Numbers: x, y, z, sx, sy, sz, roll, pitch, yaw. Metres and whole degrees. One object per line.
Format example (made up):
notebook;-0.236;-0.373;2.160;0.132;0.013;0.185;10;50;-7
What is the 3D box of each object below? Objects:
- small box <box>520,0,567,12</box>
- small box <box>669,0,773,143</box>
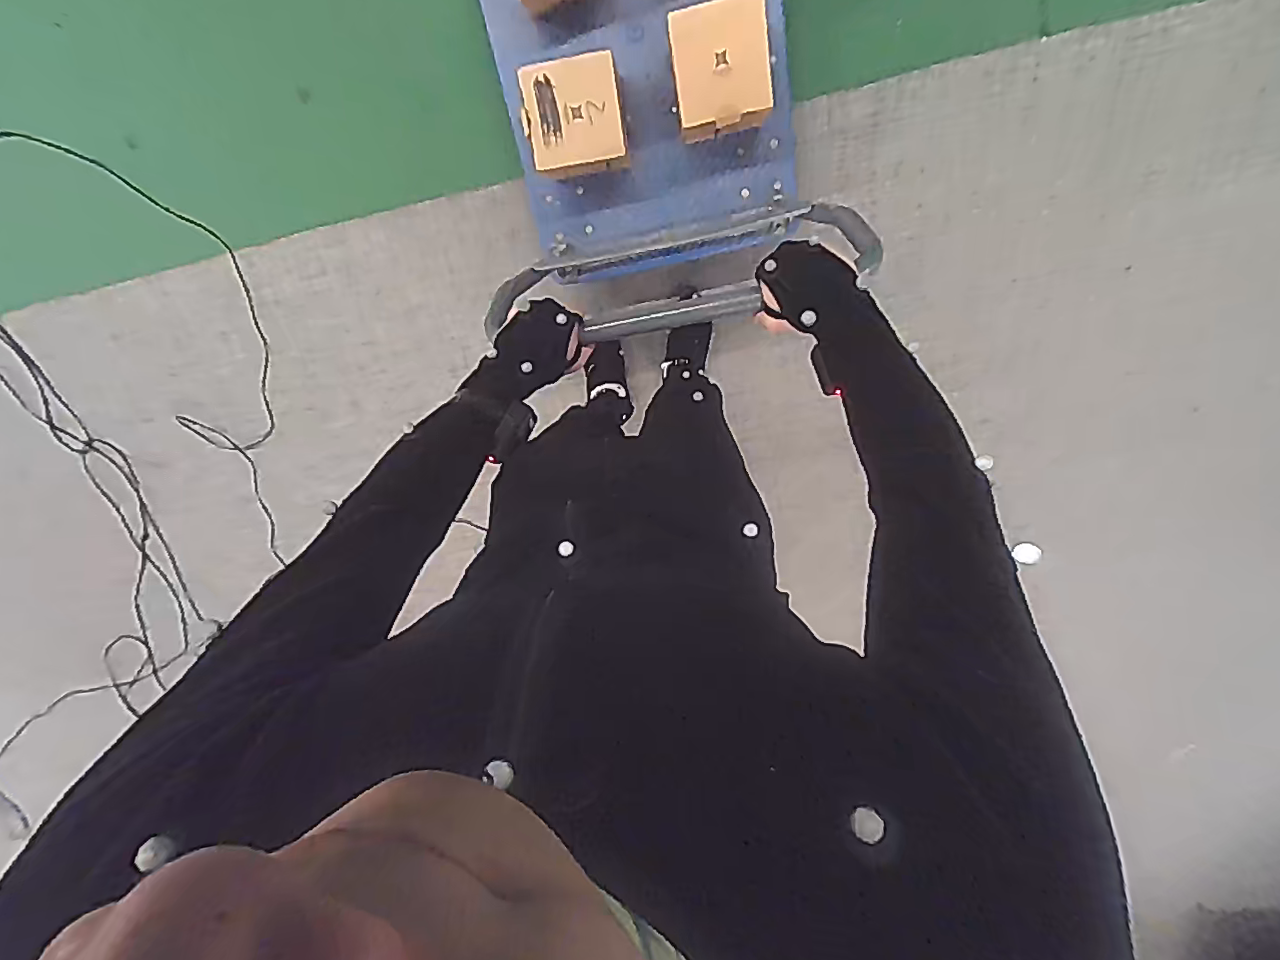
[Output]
small box;-0.166;-0.962;0.940;0.168;0.176;0.179;-15;113;10
small box;0.147;-0.760;1.016;0.168;0.176;0.179;-9;115;8
